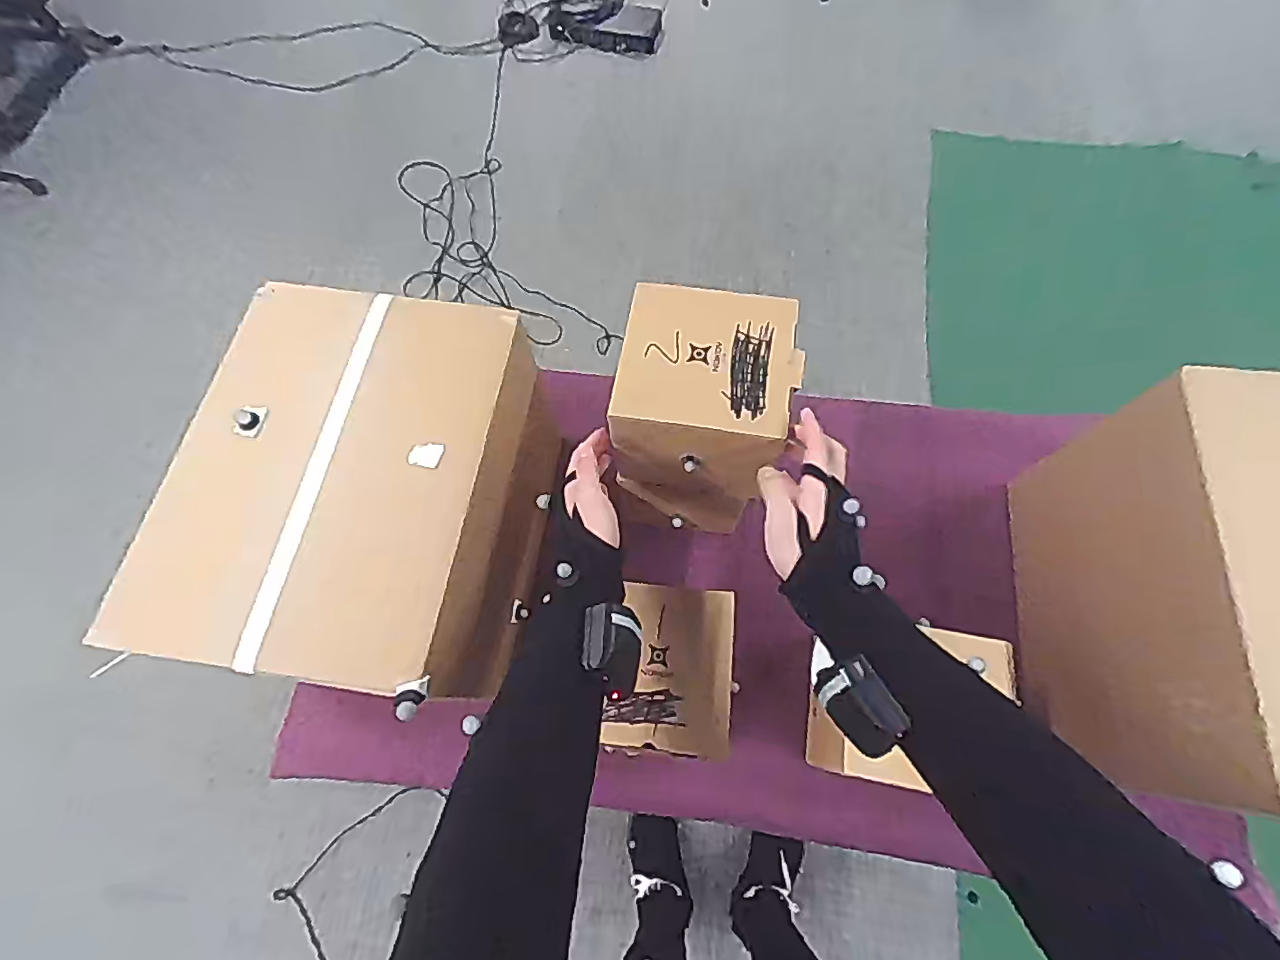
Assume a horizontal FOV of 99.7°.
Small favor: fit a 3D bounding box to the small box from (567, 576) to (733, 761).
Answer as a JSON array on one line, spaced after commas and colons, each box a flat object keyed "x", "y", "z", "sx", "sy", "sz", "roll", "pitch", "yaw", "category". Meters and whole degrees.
[{"x": 0.018, "y": 0.228, "z": 0.659, "sx": 0.168, "sy": 0.176, "sz": 0.179, "roll": 6, "pitch": 67, "yaw": 4, "category": "small box"}]

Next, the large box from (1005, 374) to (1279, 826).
[{"x": 0.662, "y": 0.147, "z": 0.596, "sx": 0.320, "sy": 0.320, "sz": 0.408, "roll": 8, "pitch": 69, "yaw": 7, "category": "large box"}]
